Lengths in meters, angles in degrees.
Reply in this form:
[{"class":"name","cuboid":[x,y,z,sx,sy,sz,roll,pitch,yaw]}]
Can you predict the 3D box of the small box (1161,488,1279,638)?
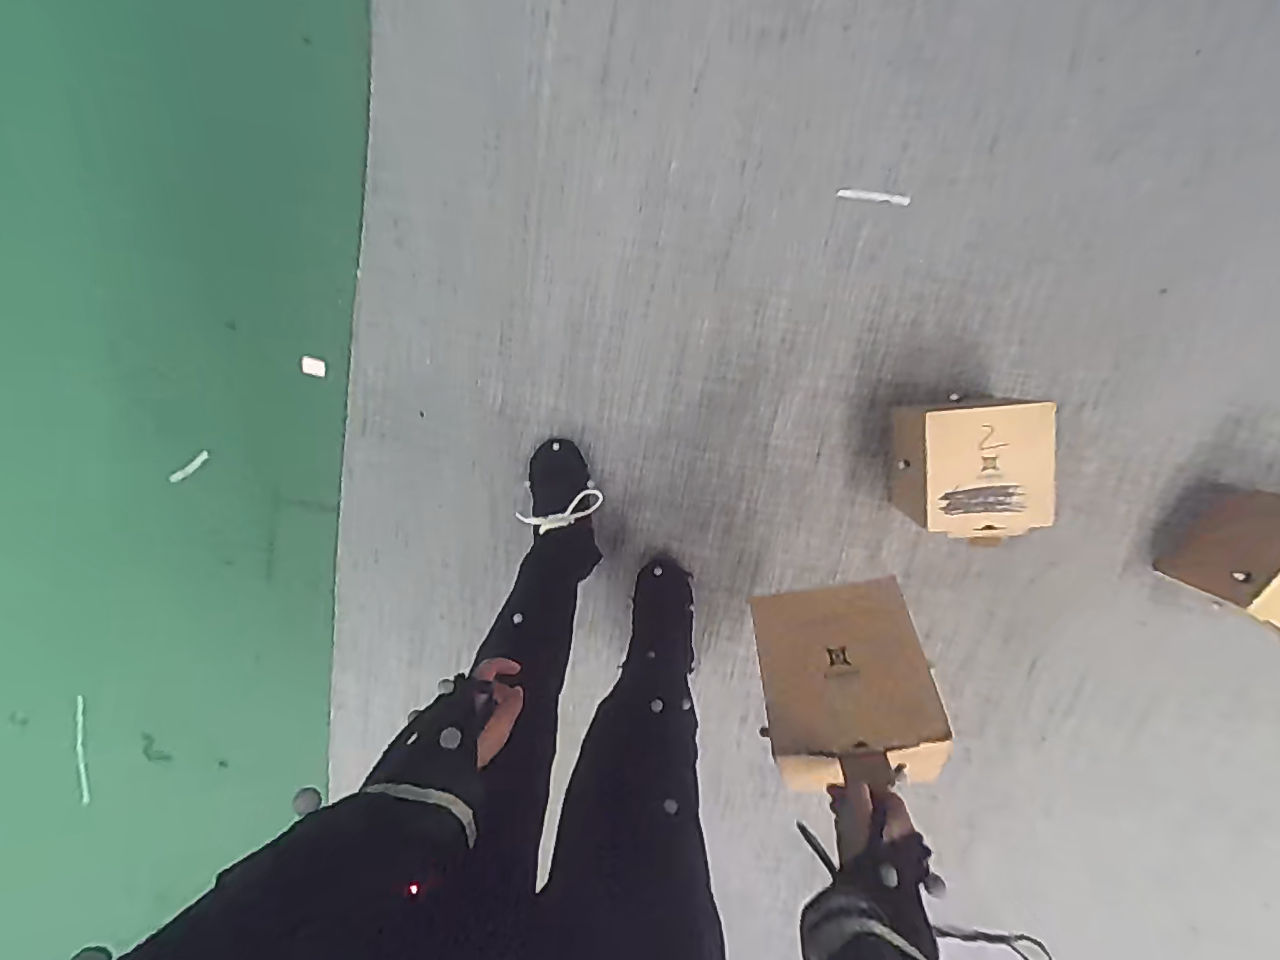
[{"class":"small box","cuboid":[0.948,0.132,0.795,0.168,0.176,0.179,29,104,2]}]
